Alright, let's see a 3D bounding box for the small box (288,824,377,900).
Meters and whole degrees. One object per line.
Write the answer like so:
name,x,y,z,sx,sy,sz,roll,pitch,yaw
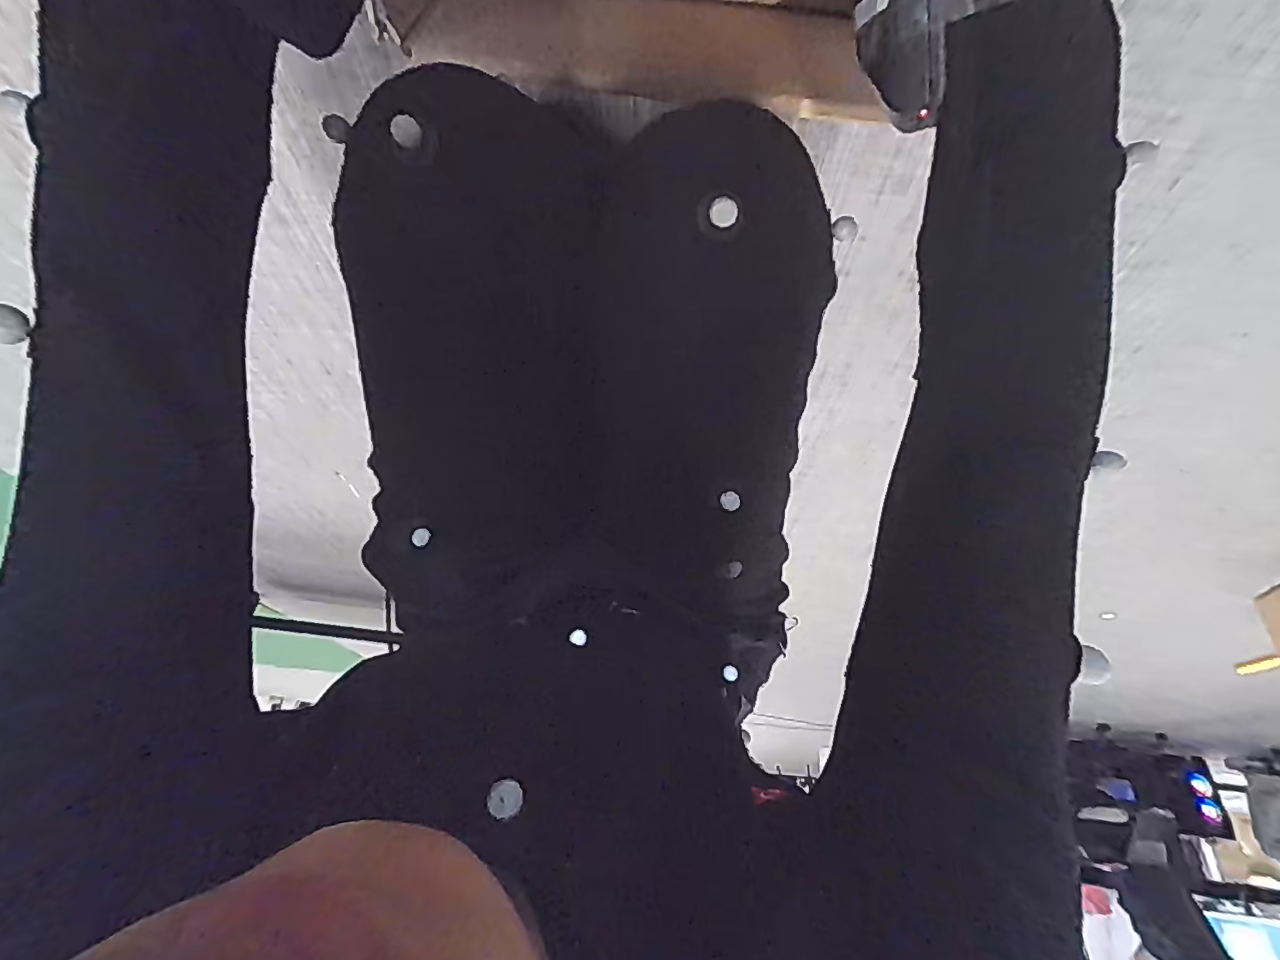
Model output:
small box,-0.946,1.188,1.690,0.179,0.176,0.168,8,149,-3
